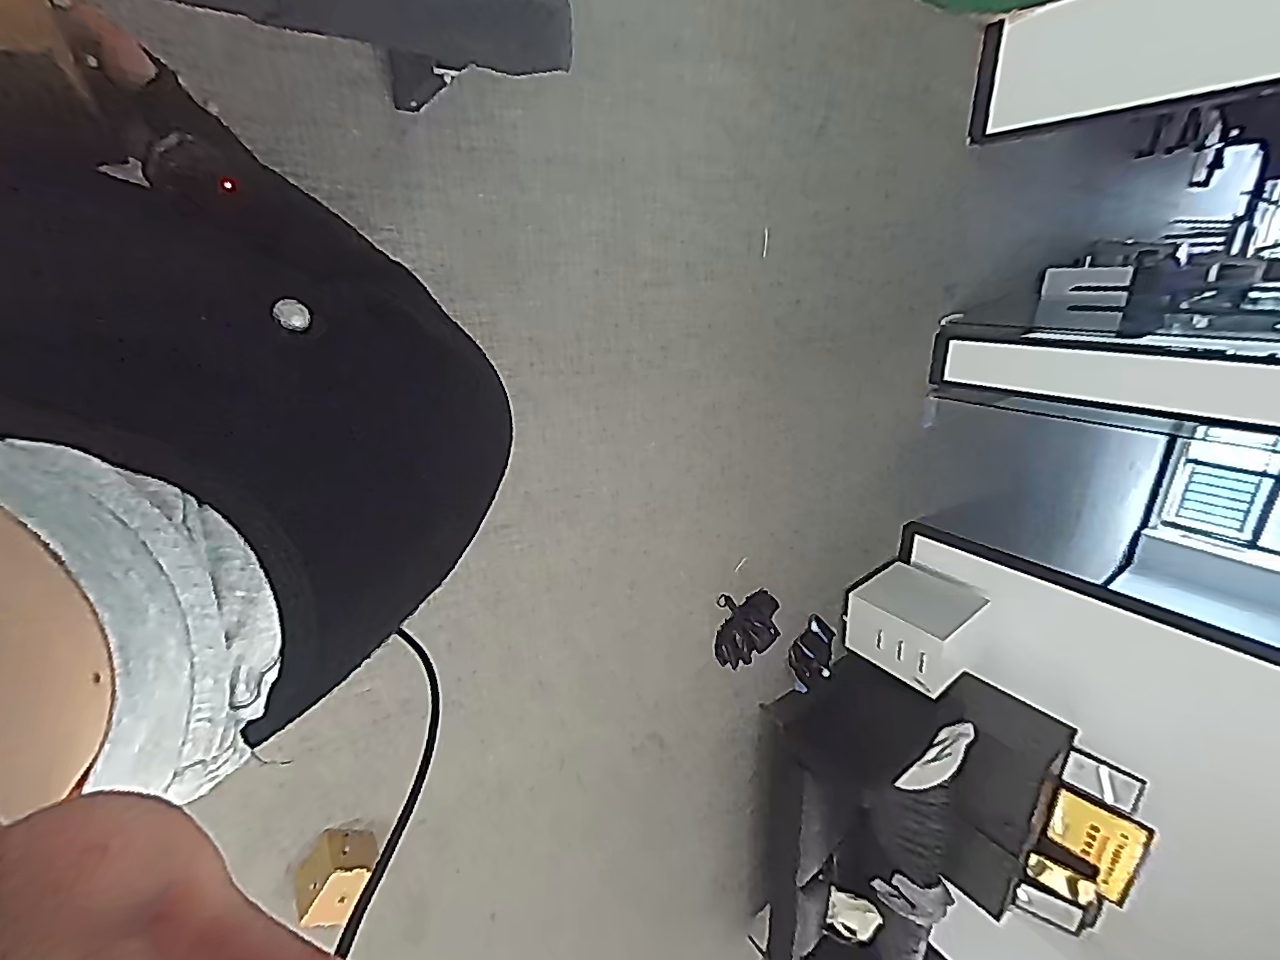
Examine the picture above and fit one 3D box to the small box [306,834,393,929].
[{"bbox_3d":[-0.911,1.240,1.684,0.168,0.176,0.179,36,83,-39],"label":"small box"}]
